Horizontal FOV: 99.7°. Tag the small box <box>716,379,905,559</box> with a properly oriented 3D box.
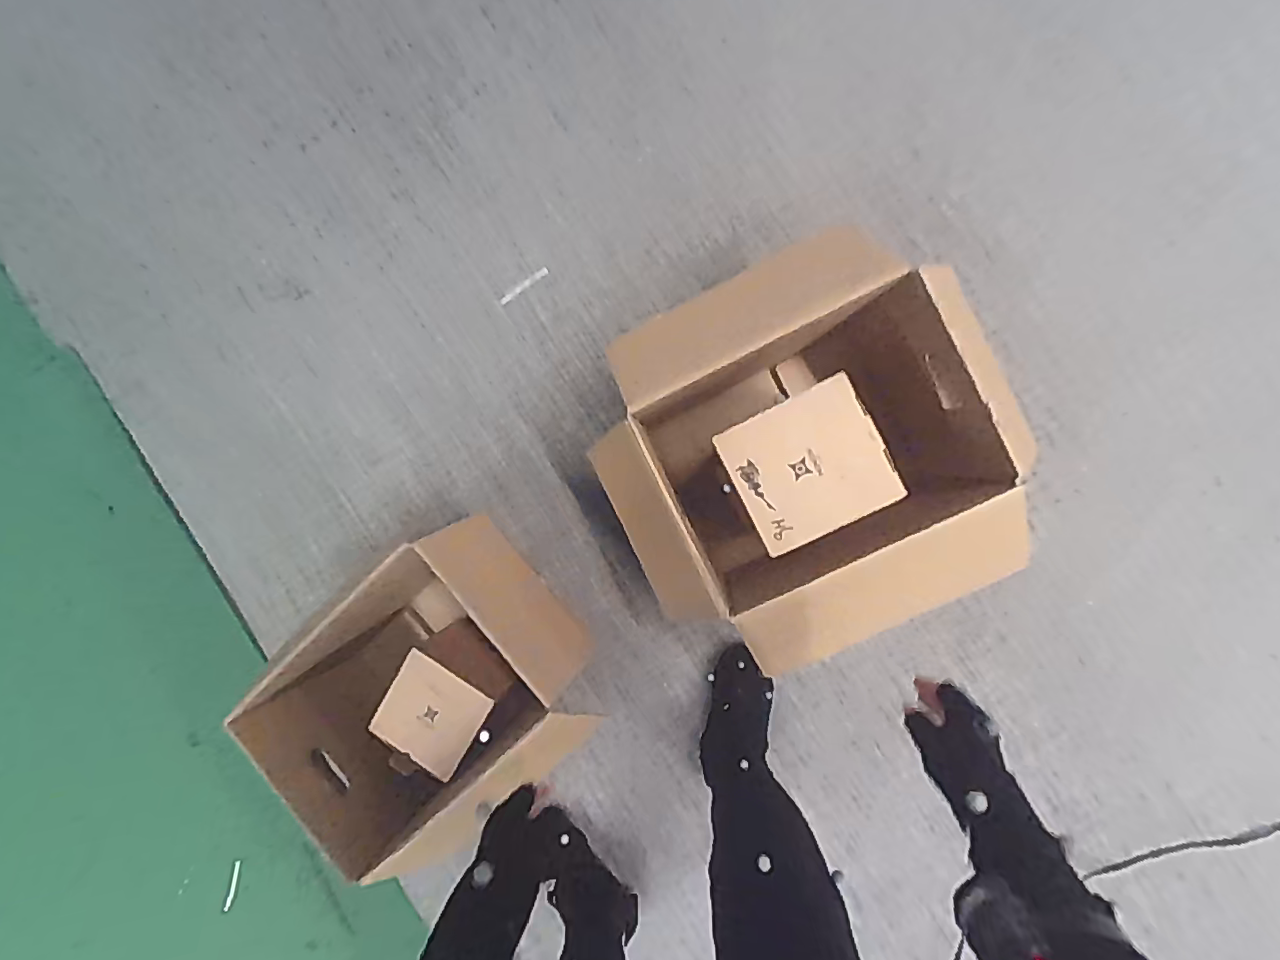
[{"bbox_3d":[0.212,-0.015,0.730,0.179,0.176,0.168,-27,87,7],"label":"small box"}]
